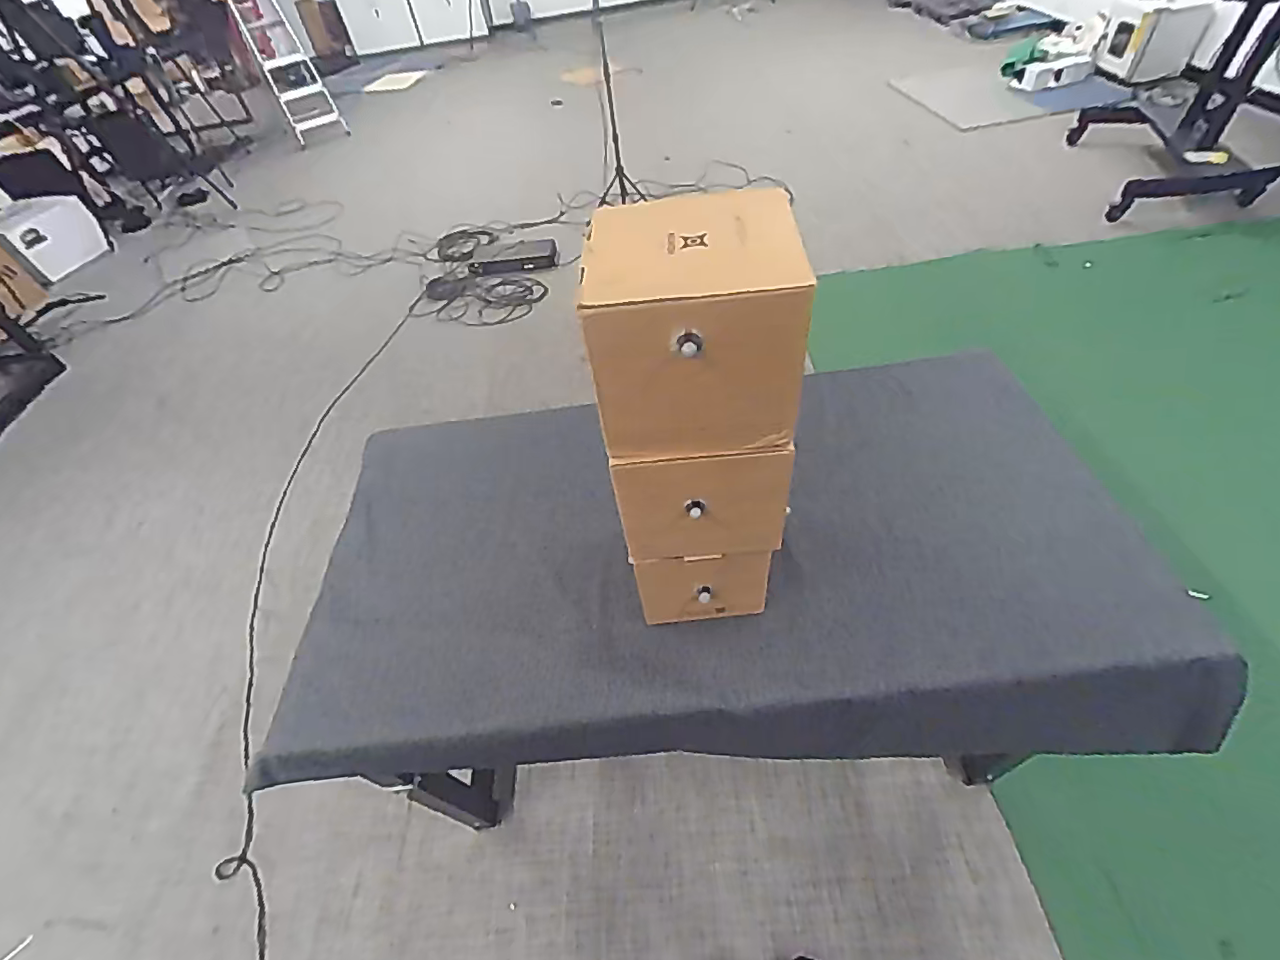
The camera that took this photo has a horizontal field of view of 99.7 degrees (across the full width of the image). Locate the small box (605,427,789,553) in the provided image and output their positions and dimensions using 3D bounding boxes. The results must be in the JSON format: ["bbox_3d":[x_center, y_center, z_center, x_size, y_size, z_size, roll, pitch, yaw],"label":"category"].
[{"bbox_3d":[0.063,-0.032,0.619,0.179,0.176,0.168,-6,49,6],"label":"small box"}]

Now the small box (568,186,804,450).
[{"bbox_3d":[0.043,-0.142,0.501,0.179,0.176,0.168,-4,50,6],"label":"small box"}]

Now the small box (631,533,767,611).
[{"bbox_3d":[0.077,0.068,0.749,0.168,0.176,0.179,-8,50,3],"label":"small box"}]
